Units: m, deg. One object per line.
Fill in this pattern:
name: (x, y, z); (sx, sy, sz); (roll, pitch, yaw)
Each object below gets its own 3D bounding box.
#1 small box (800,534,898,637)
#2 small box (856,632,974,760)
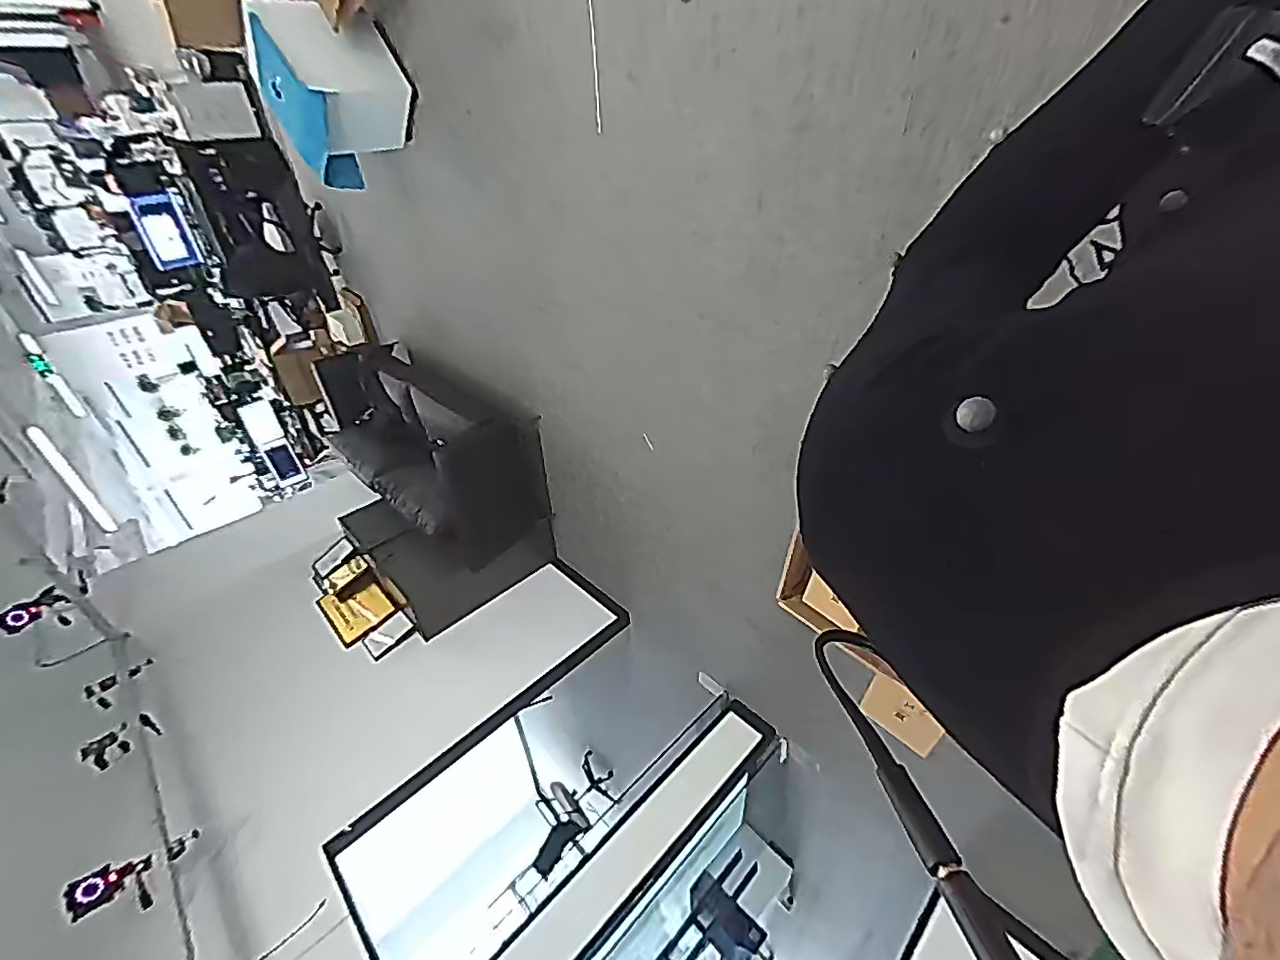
small box: (0.569, 0.282, 1.471); (0.168, 0.176, 0.179); (35, 138, 32)
small box: (0.633, 0.491, 1.246); (0.168, 0.176, 0.179); (33, 138, 33)
